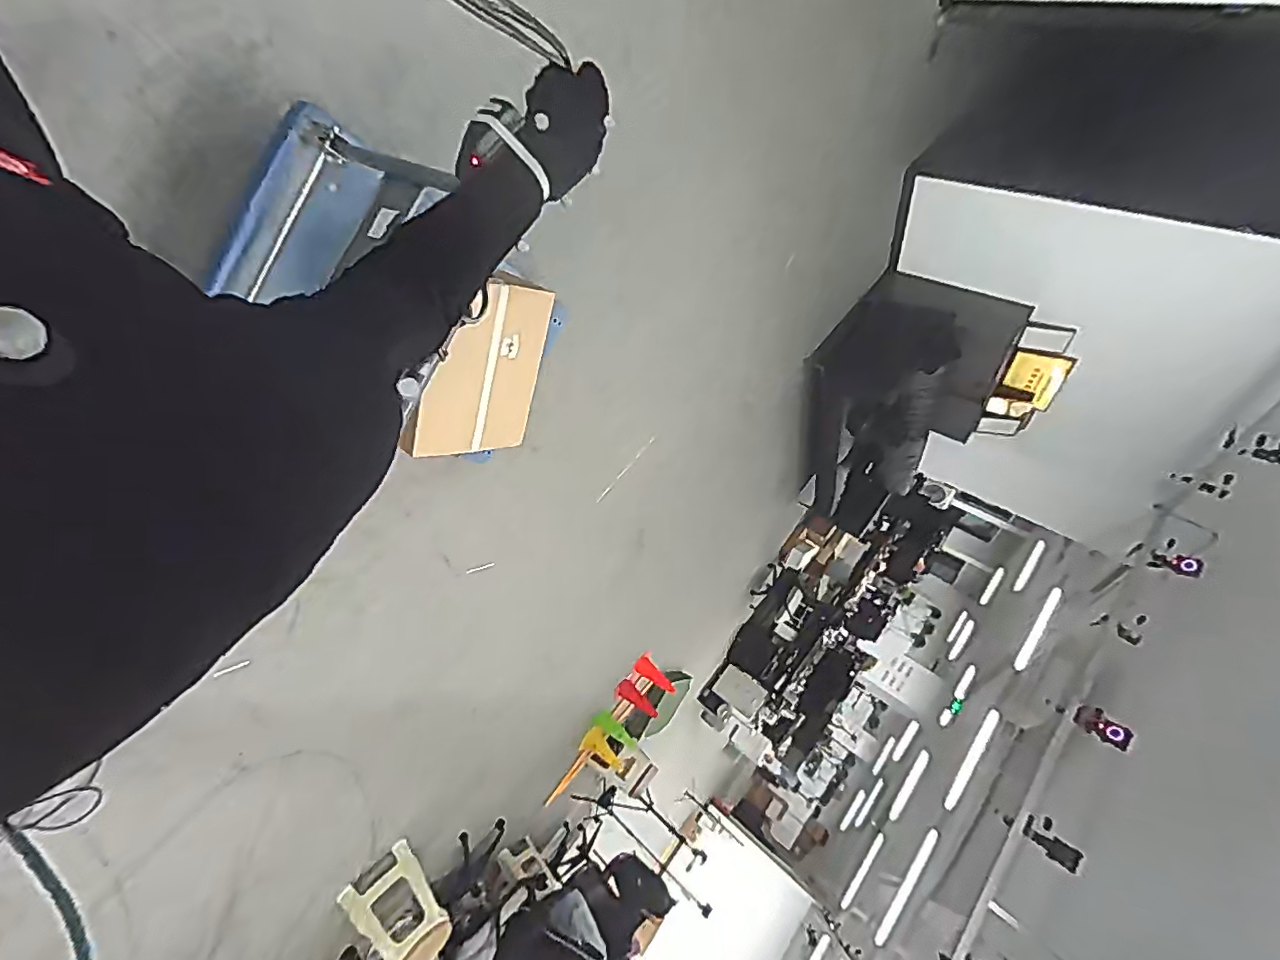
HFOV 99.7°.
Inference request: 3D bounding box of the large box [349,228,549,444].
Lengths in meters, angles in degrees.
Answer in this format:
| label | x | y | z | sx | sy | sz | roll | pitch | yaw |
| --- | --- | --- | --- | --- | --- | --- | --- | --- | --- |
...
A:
| label | x | y | z | sx | sy | sz | roll | pitch | yaw |
| --- | --- | --- | --- | --- | --- | --- | --- | --- | --- |
| large box | -0.473 | -0.341 | 1.314 | 0.320 | 0.320 | 0.408 | -13 | 127 | -52 |
